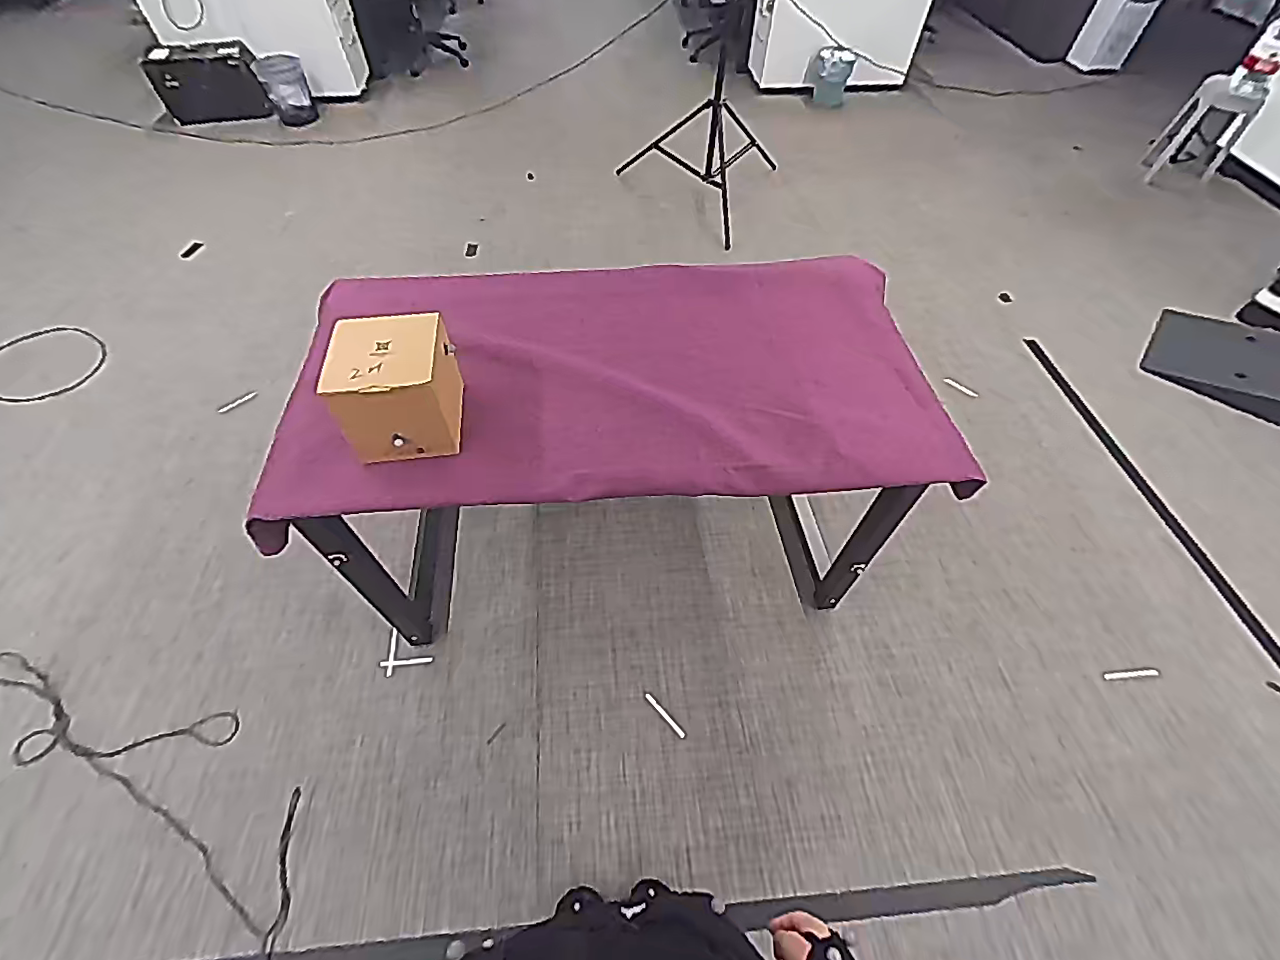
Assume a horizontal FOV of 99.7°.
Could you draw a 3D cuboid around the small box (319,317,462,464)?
[{"bbox_3d":[-0.406,-0.149,0.915,0.168,0.176,0.179,-6,54,-6],"label":"small box"}]
